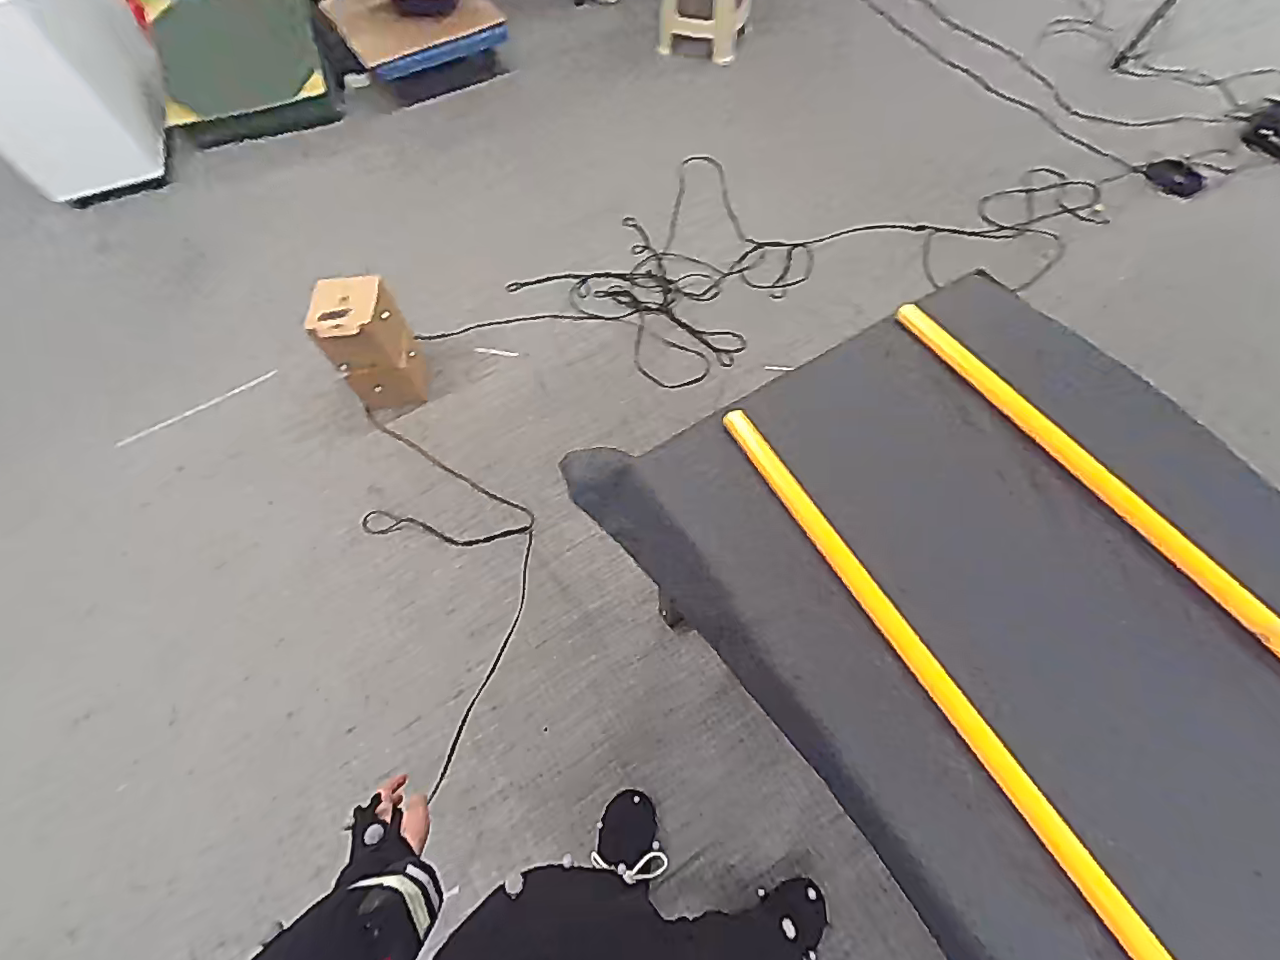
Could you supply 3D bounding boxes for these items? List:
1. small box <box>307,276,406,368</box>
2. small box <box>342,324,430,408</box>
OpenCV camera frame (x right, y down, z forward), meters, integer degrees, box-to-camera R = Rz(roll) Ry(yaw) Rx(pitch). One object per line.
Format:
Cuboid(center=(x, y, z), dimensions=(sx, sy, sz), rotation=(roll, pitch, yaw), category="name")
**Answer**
Cuboid(center=(-0.744, -0.413, 1.440), dimensions=(0.168, 0.176, 0.179), rotation=(-4, 62, -1), category="small box")
Cuboid(center=(-0.735, -0.328, 1.582), dimensions=(0.179, 0.176, 0.168), rotation=(-9, 62, -3), category="small box")
